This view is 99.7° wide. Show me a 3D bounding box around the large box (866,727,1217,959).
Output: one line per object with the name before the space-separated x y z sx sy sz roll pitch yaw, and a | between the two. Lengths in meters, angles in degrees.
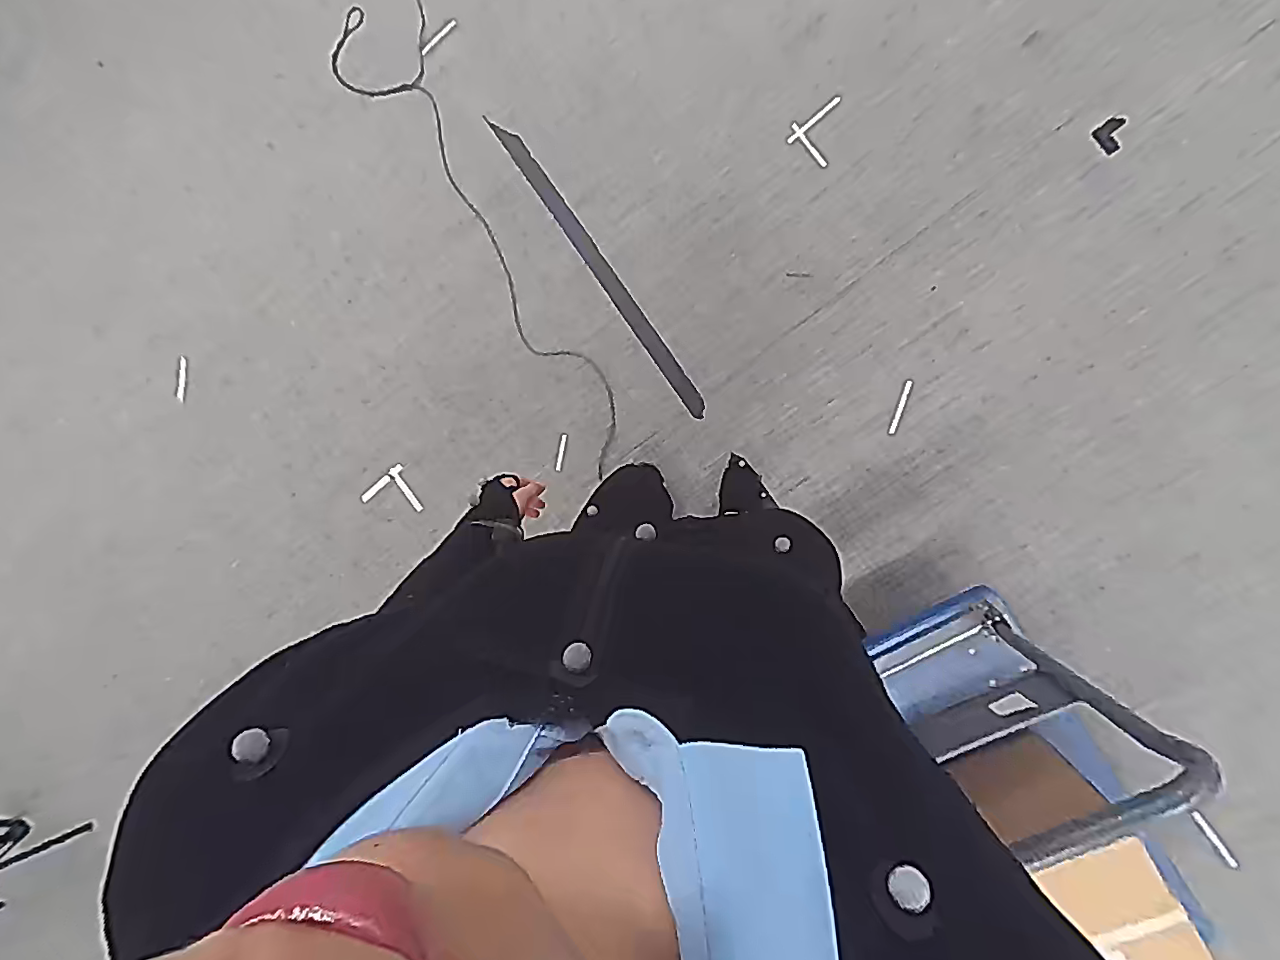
large box | 0.734 0.770 1.064 0.408 0.320 0.320 -30 88 11
